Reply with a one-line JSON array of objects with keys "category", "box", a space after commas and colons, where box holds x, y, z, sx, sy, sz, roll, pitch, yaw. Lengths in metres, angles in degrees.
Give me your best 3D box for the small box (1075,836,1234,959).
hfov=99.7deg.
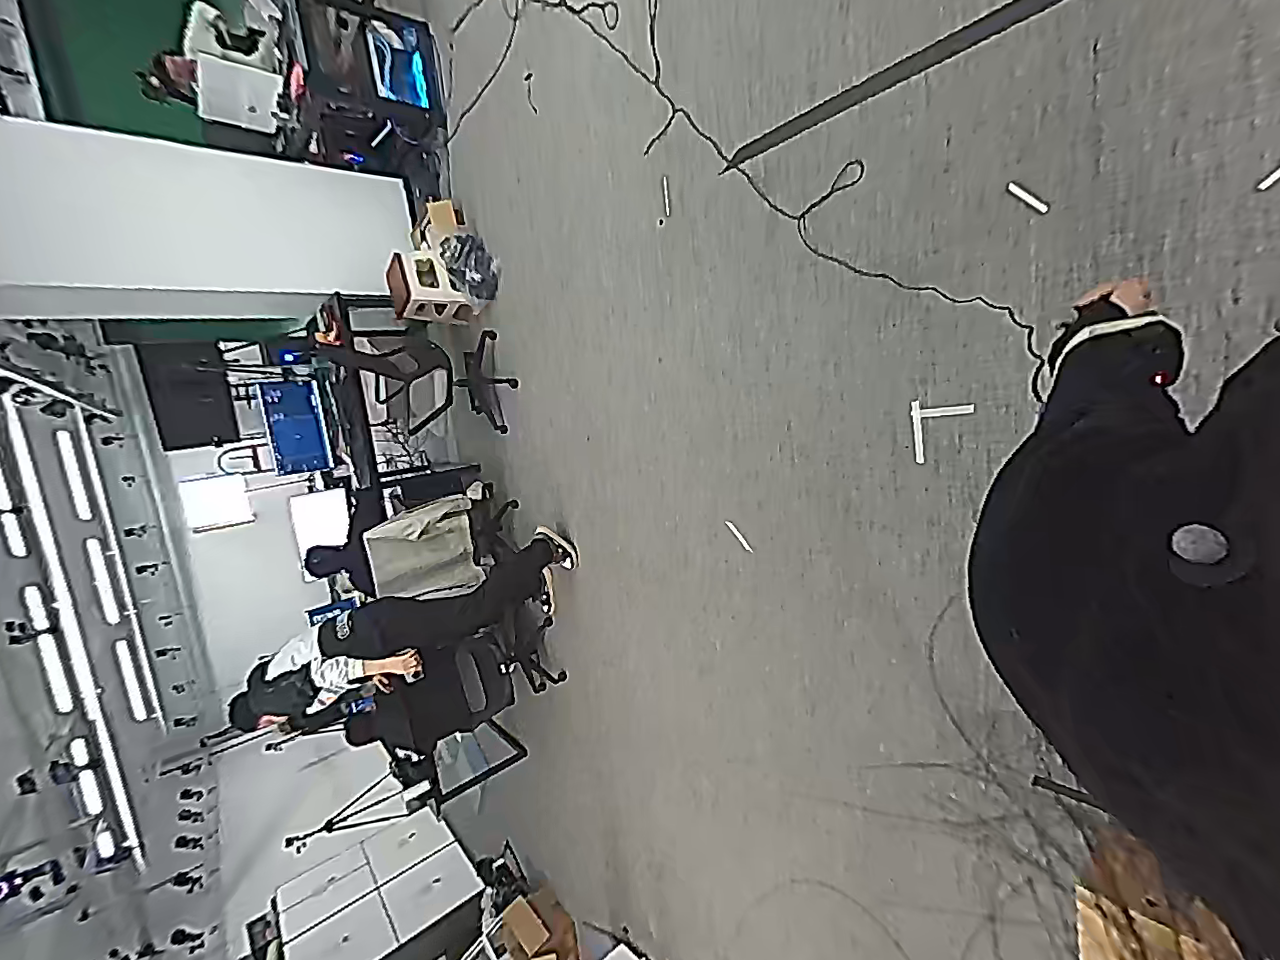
[{"category": "small box", "box": [0.898, 0.771, 0.945, 0.179, 0.176, 0.168, 0, 100, 53]}]
